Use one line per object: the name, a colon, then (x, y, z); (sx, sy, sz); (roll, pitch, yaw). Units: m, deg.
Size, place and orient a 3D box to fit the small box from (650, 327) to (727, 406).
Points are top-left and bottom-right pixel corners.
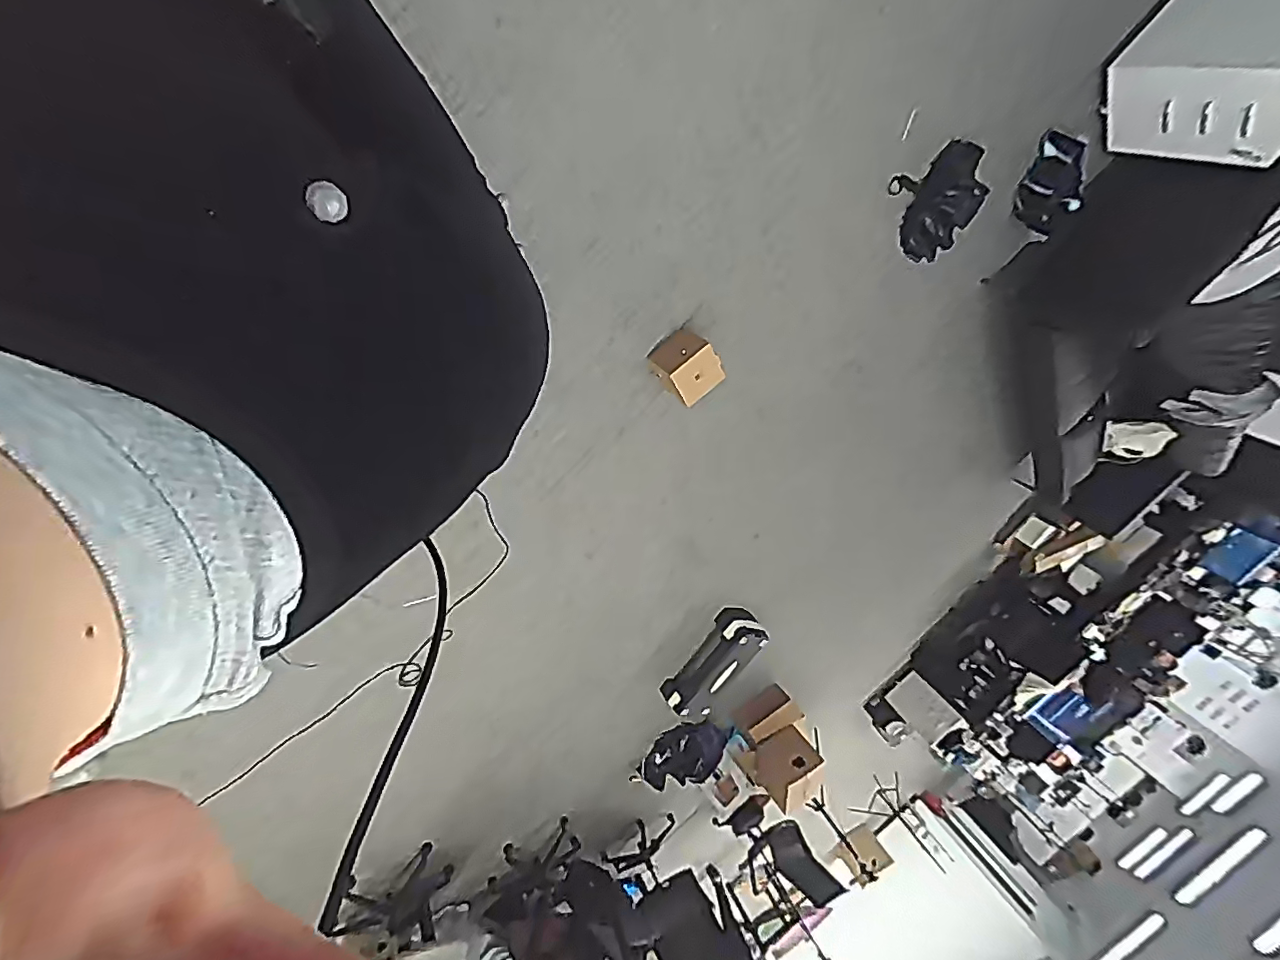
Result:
small box: (0.167, -0.399, 1.873); (0.179, 0.176, 0.168); (-39, 134, 0)
